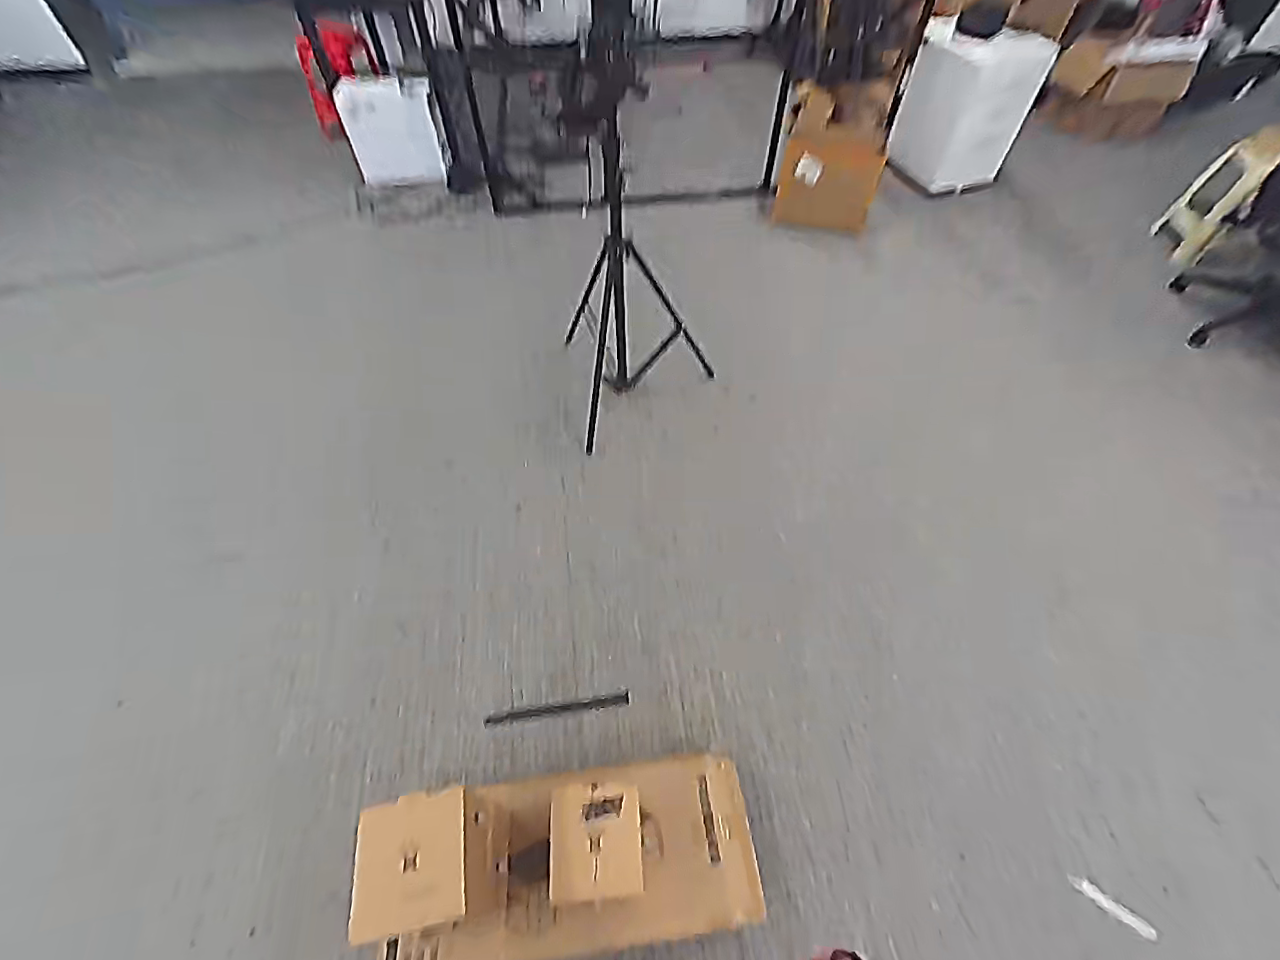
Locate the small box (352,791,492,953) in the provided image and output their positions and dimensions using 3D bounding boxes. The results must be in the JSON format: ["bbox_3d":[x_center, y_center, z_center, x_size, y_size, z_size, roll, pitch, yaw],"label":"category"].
[{"bbox_3d":[-0.346,0.638,0.887,0.168,0.176,0.179,-11,54,-8],"label":"small box"}]

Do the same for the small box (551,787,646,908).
[{"bbox_3d":[-0.076,0.708,1.040,0.168,0.176,0.179,-4,53,-1],"label":"small box"}]

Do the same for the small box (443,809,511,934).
[{"bbox_3d":[-0.343,0.735,1.018,0.168,0.176,0.179,-5,54,-4],"label":"small box"}]
